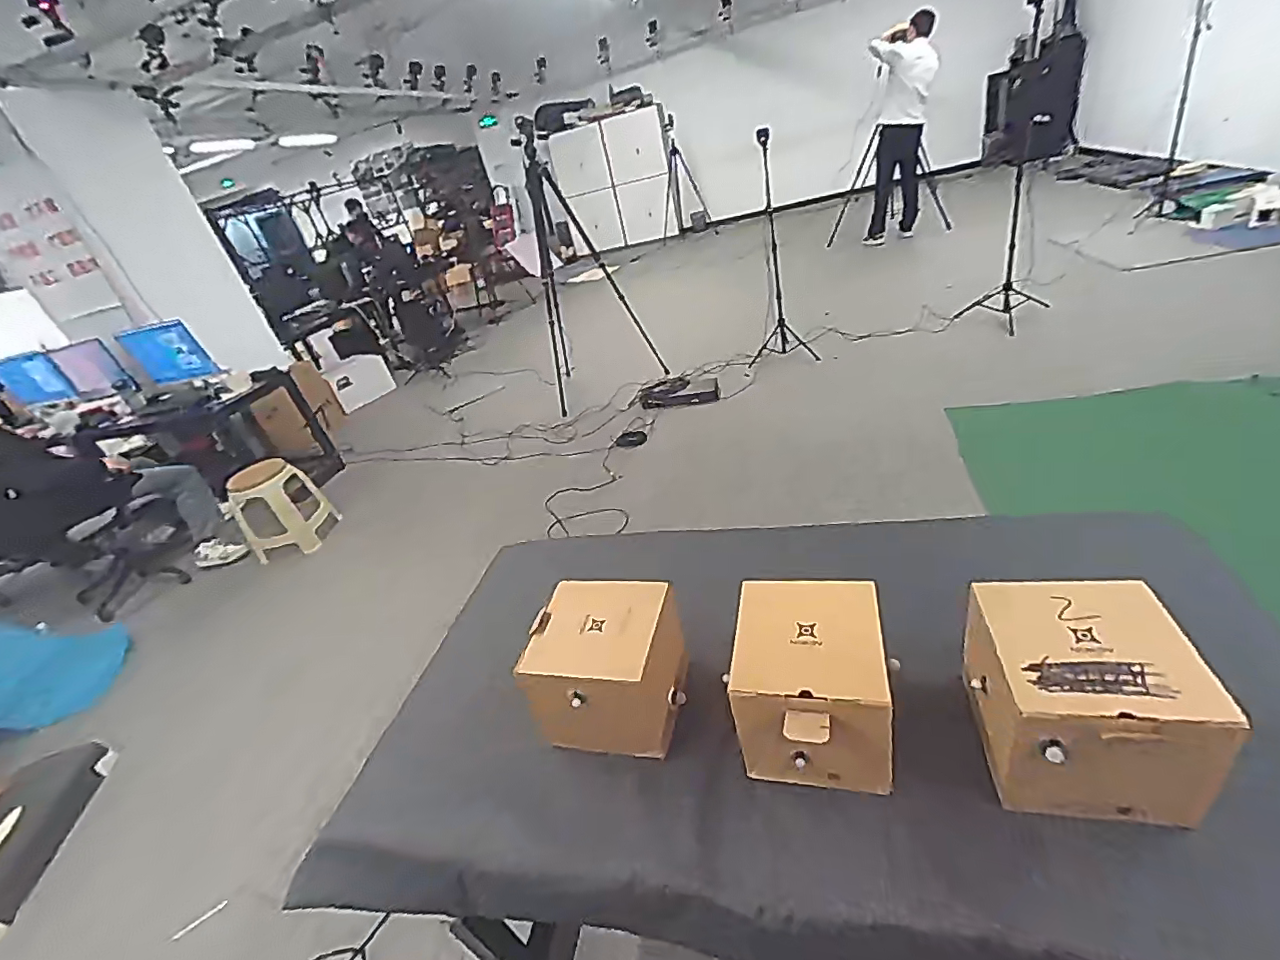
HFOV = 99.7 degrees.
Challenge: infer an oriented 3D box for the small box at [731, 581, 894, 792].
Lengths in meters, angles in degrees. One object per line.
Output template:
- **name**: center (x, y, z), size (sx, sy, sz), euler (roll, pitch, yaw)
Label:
- **small box**: center (0.213, 0.247, 0.671), size (0.168, 0.176, 0.179), euler (-3, 33, 19)

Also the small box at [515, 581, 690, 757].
- **small box**: center (-0.041, 0.261, 0.761), size (0.179, 0.176, 0.168), euler (-2, 34, 20)
